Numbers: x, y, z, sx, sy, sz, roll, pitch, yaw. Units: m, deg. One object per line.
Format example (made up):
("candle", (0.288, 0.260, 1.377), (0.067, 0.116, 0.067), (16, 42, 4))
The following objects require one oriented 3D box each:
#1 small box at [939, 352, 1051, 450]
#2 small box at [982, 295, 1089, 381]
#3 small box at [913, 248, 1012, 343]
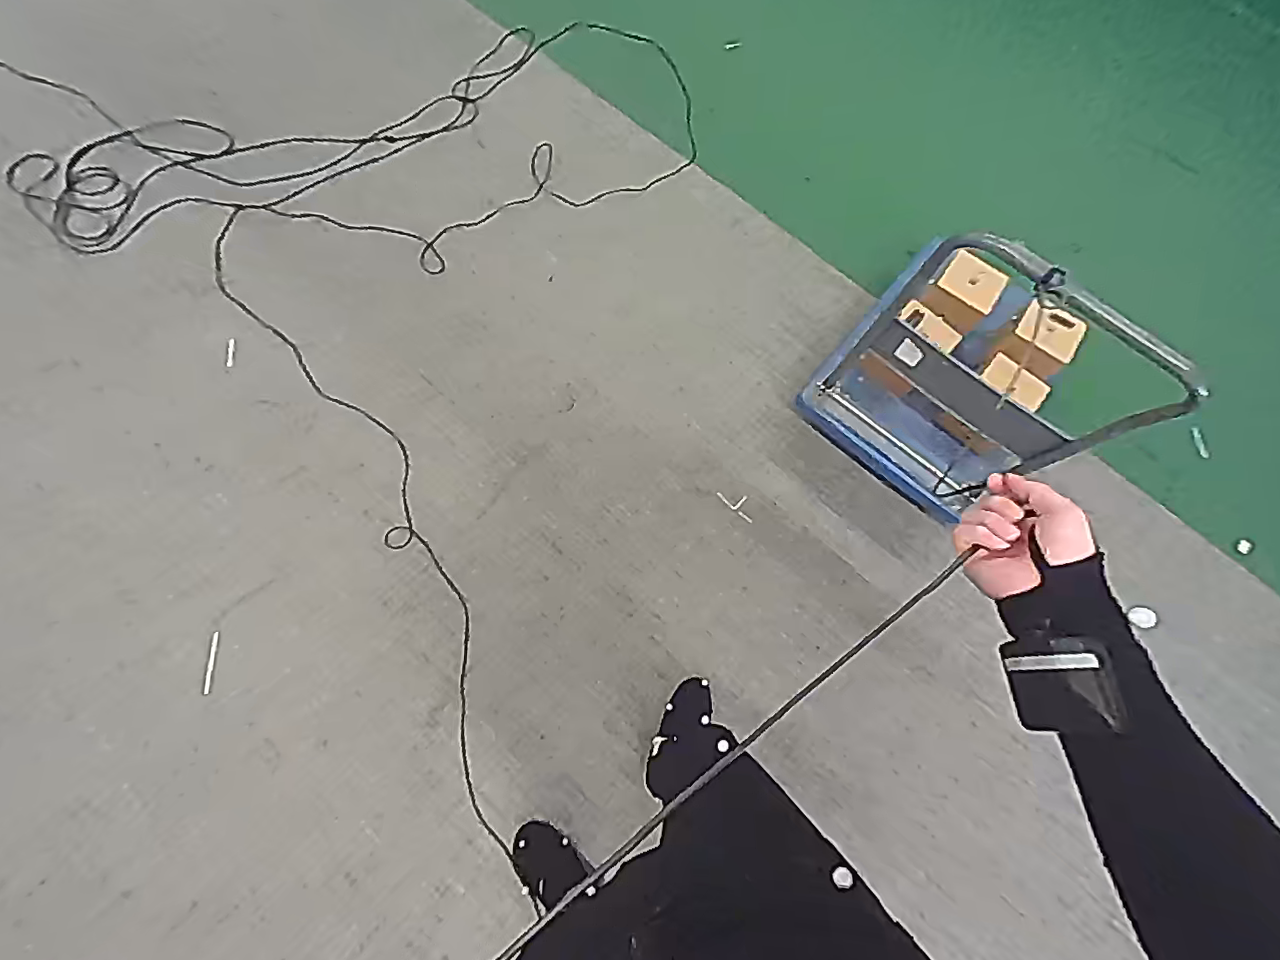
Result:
("small box", (0.987, -0.216, 1.520), (0.168, 0.176, 0.179), (42, 72, 9))
("small box", (1.165, -0.401, 1.604), (0.168, 0.176, 0.179), (37, 72, 8))
("small box", (0.965, -0.550, 1.637), (0.168, 0.176, 0.179), (37, 71, 7))
